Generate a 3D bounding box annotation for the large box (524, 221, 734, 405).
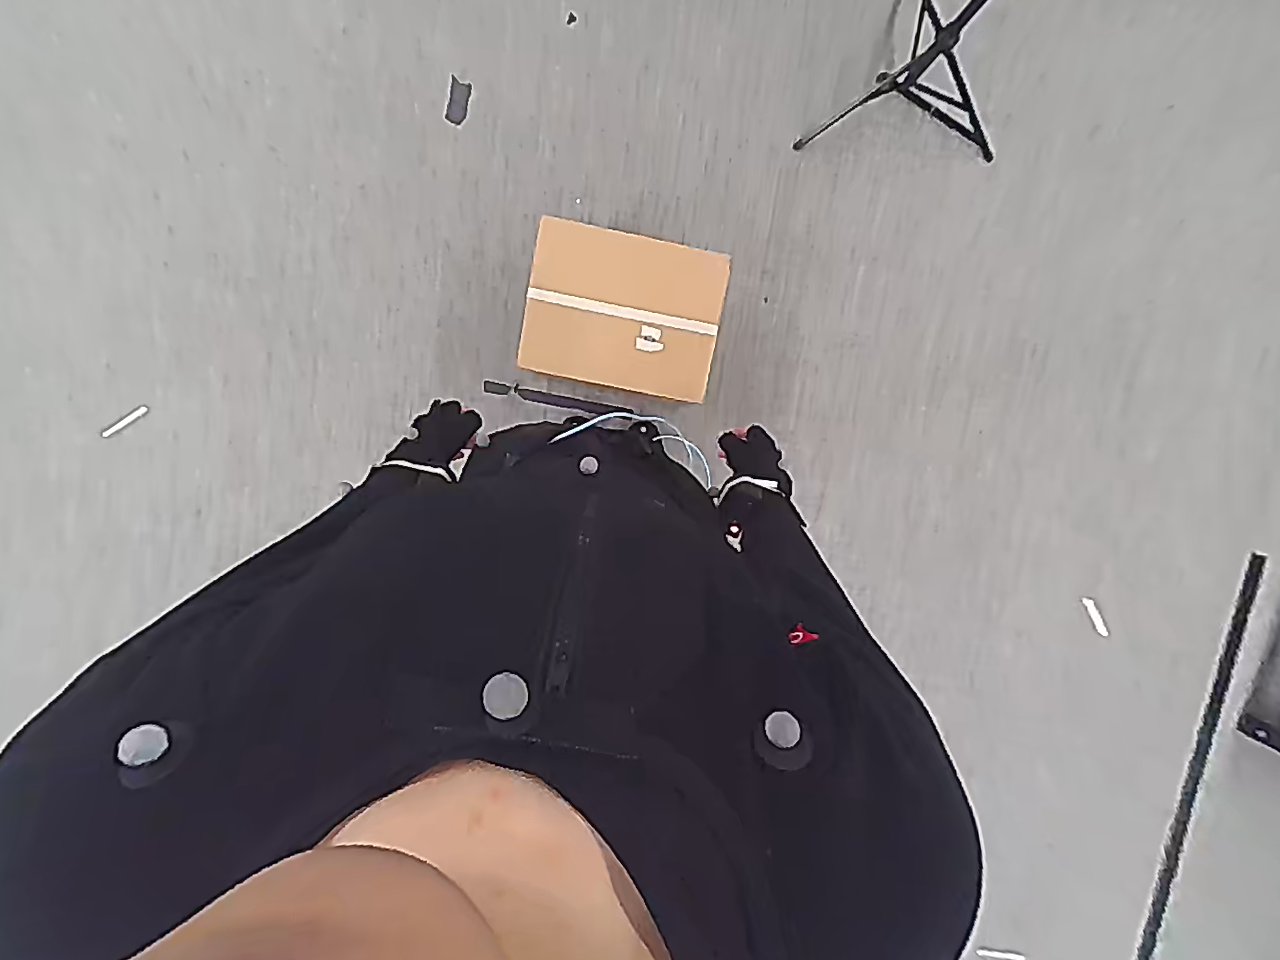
[{"bbox_3d":[-0.032,-0.369,1.286,0.408,0.320,0.320,11,97,-3],"label":"large box"}]
